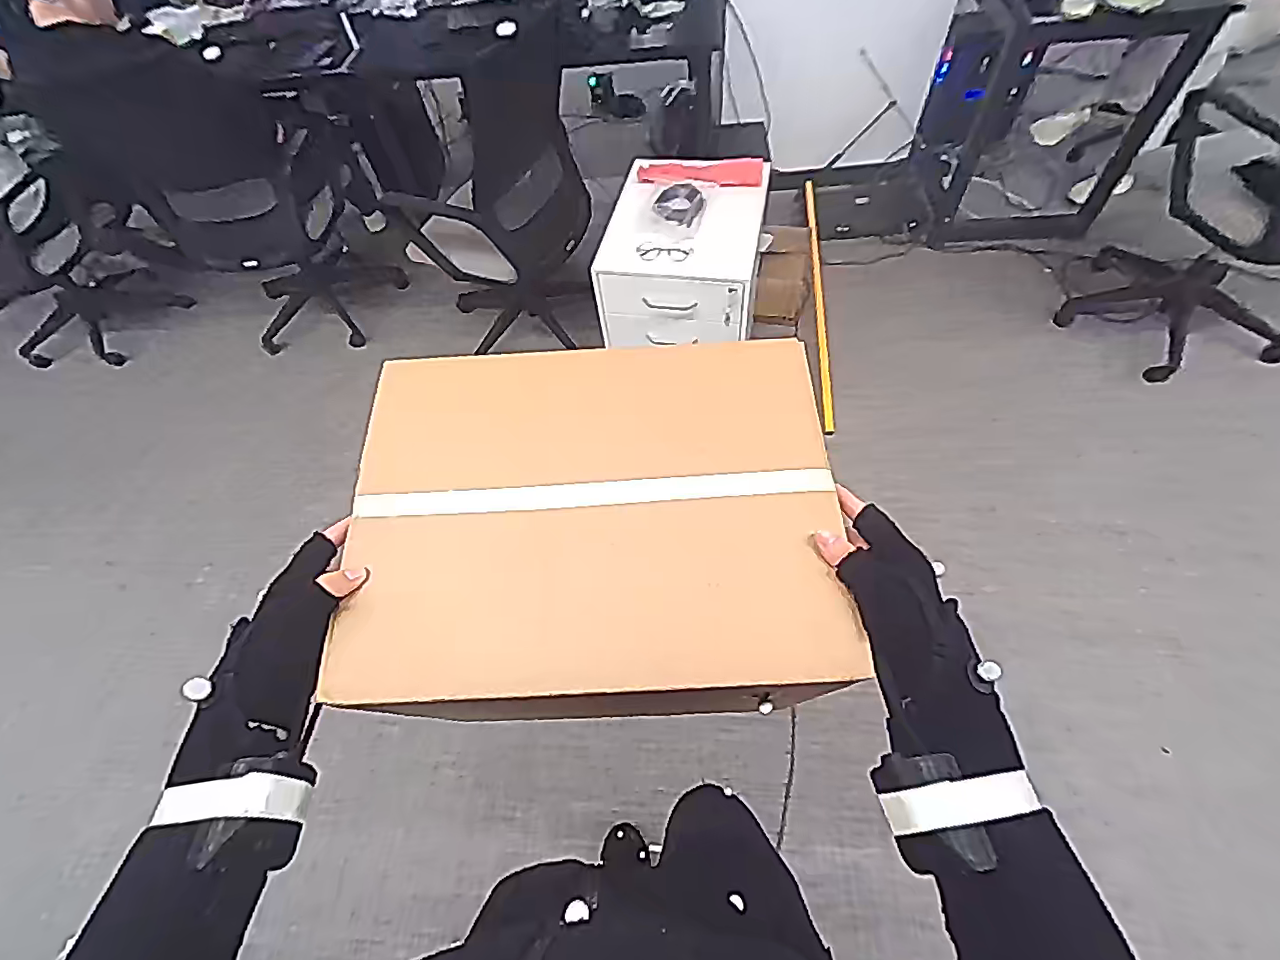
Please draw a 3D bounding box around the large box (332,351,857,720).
[{"bbox_3d":[-0.036,0.086,0.601,0.408,0.320,0.320,-3,63,0],"label":"large box"}]
